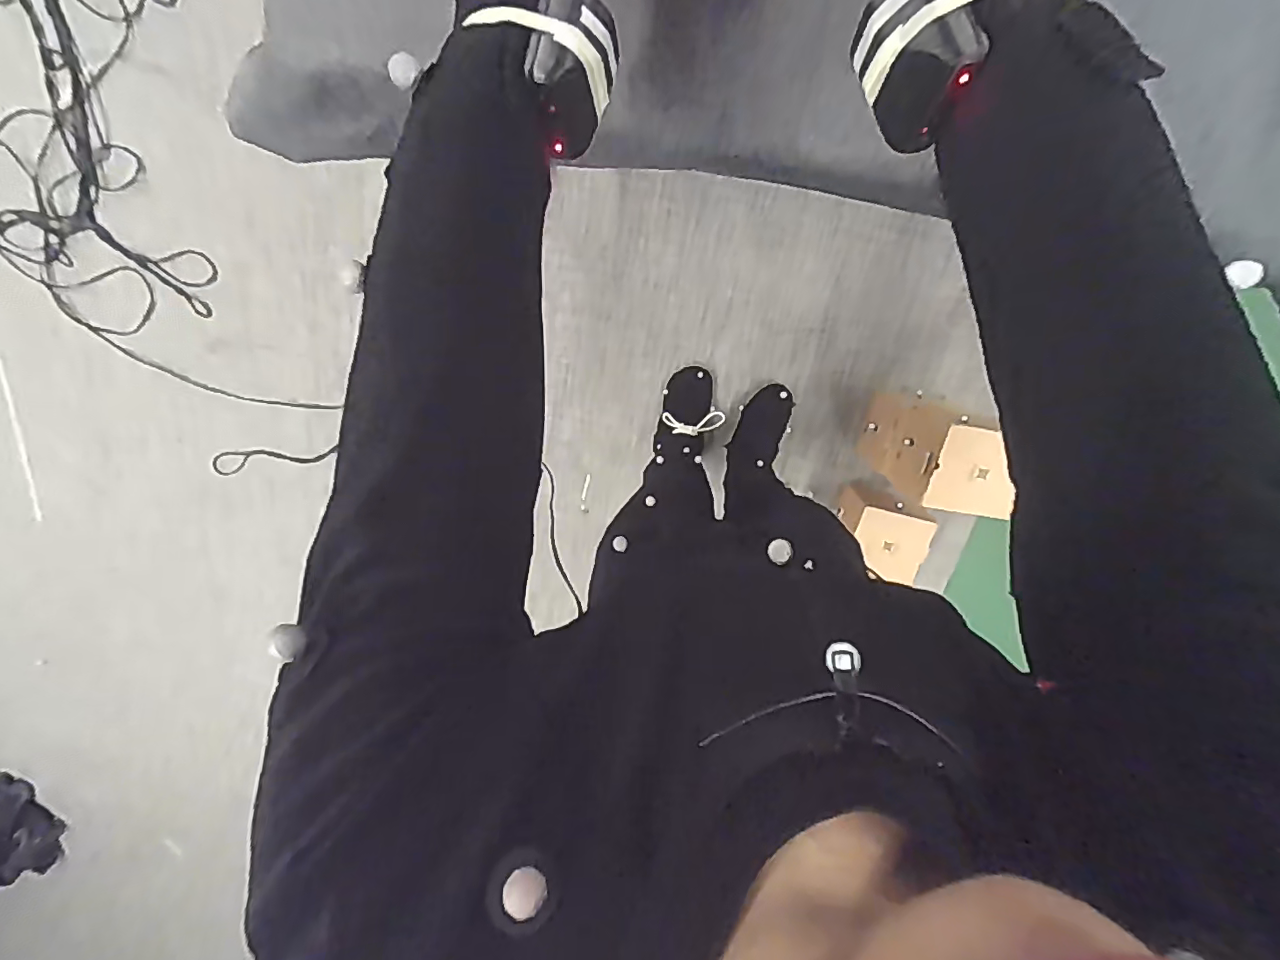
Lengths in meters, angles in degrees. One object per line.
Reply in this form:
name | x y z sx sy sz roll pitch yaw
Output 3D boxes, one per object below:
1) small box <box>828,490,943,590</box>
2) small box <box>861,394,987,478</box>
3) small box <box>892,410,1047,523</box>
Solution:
small box | 0.580 0.137 1.303 0.179 0.176 0.168 13 109 0
small box | 0.625 -0.092 1.218 0.179 0.176 0.168 10 108 0
small box | 0.633 -0.032 1.064 0.179 0.176 0.168 9 110 0
